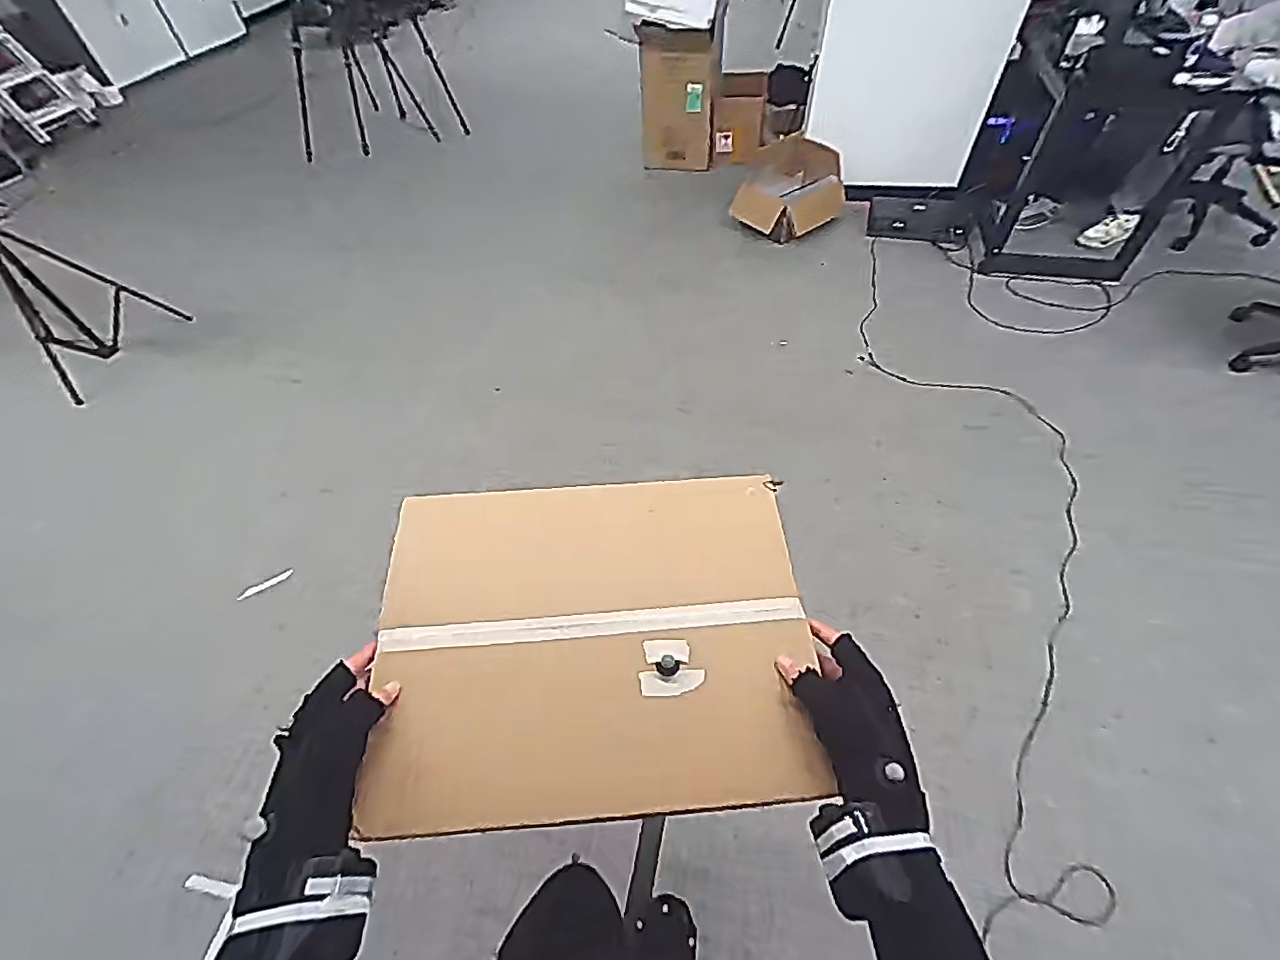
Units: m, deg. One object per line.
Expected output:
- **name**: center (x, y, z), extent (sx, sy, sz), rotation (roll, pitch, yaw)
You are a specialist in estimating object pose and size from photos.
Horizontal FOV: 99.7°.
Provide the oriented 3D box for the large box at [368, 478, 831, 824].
- **large box**: center (-0.044, 0.219, 0.660), extent (0.408, 0.320, 0.320), rotation (-3, 58, -2)
